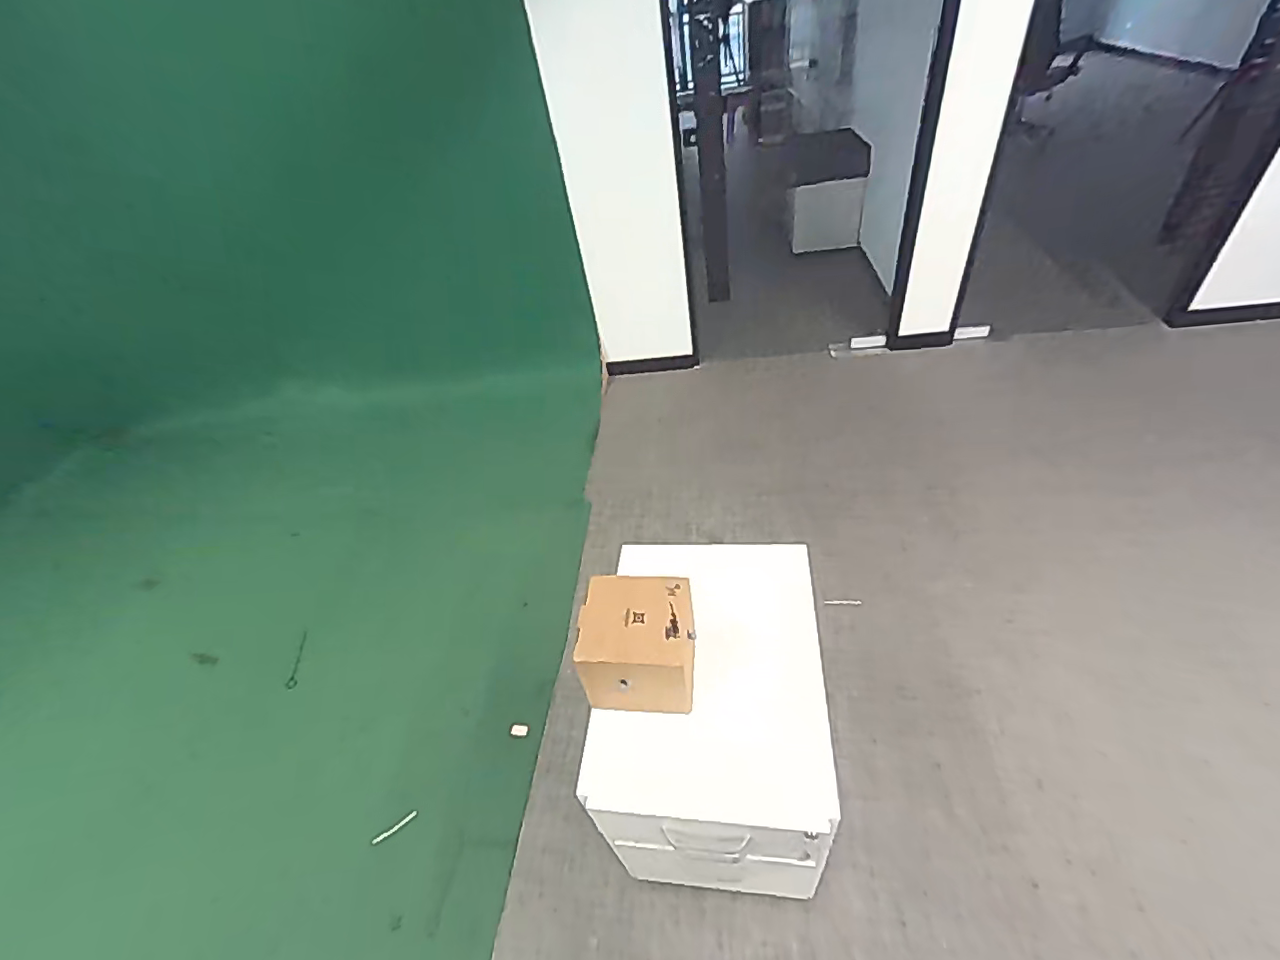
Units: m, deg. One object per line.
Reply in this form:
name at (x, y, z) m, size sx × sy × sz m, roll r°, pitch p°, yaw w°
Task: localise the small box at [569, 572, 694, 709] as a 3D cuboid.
small box at (-0.004, 0.275, 0.927) m, size 0.179 × 0.176 × 0.168 m, roll -1°, pitch 44°, yaw 10°
